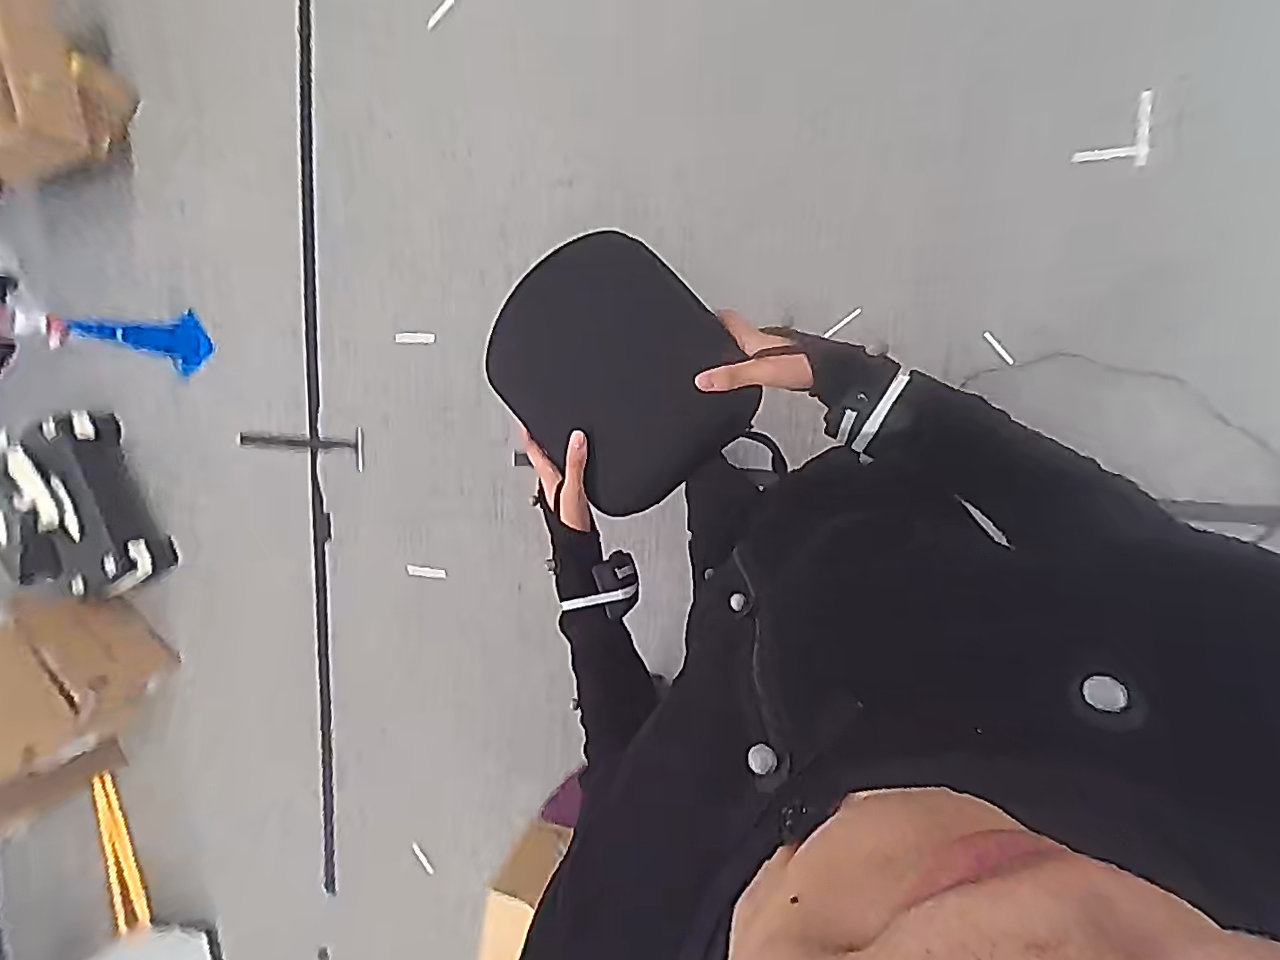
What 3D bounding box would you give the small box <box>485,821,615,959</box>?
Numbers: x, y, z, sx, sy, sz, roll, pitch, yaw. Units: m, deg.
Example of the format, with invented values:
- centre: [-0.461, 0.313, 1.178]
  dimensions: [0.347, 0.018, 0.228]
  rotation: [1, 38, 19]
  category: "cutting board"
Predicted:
- centre: [-0.150, 0.746, 0.937]
  dimensions: [0.168, 0.176, 0.179]
  rotation: [10, 99, 12]
  category: "small box"
